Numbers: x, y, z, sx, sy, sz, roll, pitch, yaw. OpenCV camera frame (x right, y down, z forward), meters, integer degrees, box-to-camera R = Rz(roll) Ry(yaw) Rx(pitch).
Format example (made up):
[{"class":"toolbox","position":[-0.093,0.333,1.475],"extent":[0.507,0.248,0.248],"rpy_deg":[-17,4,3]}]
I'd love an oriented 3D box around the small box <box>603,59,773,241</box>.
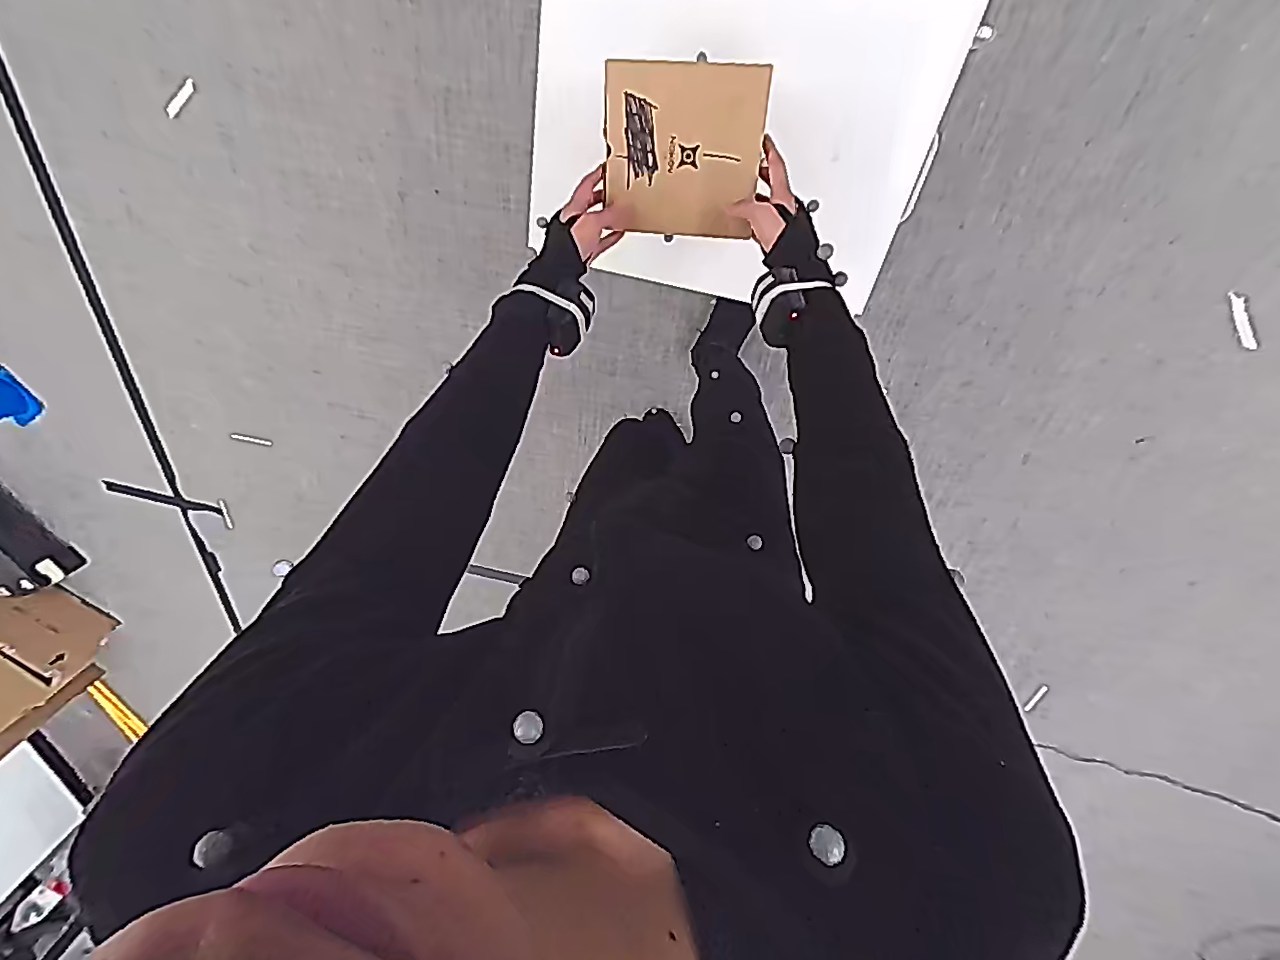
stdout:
[{"class":"small box","position":[0.059,-0.399,0.663],"extent":[0.179,0.176,0.168],"rpy_deg":[7,122,7]}]
